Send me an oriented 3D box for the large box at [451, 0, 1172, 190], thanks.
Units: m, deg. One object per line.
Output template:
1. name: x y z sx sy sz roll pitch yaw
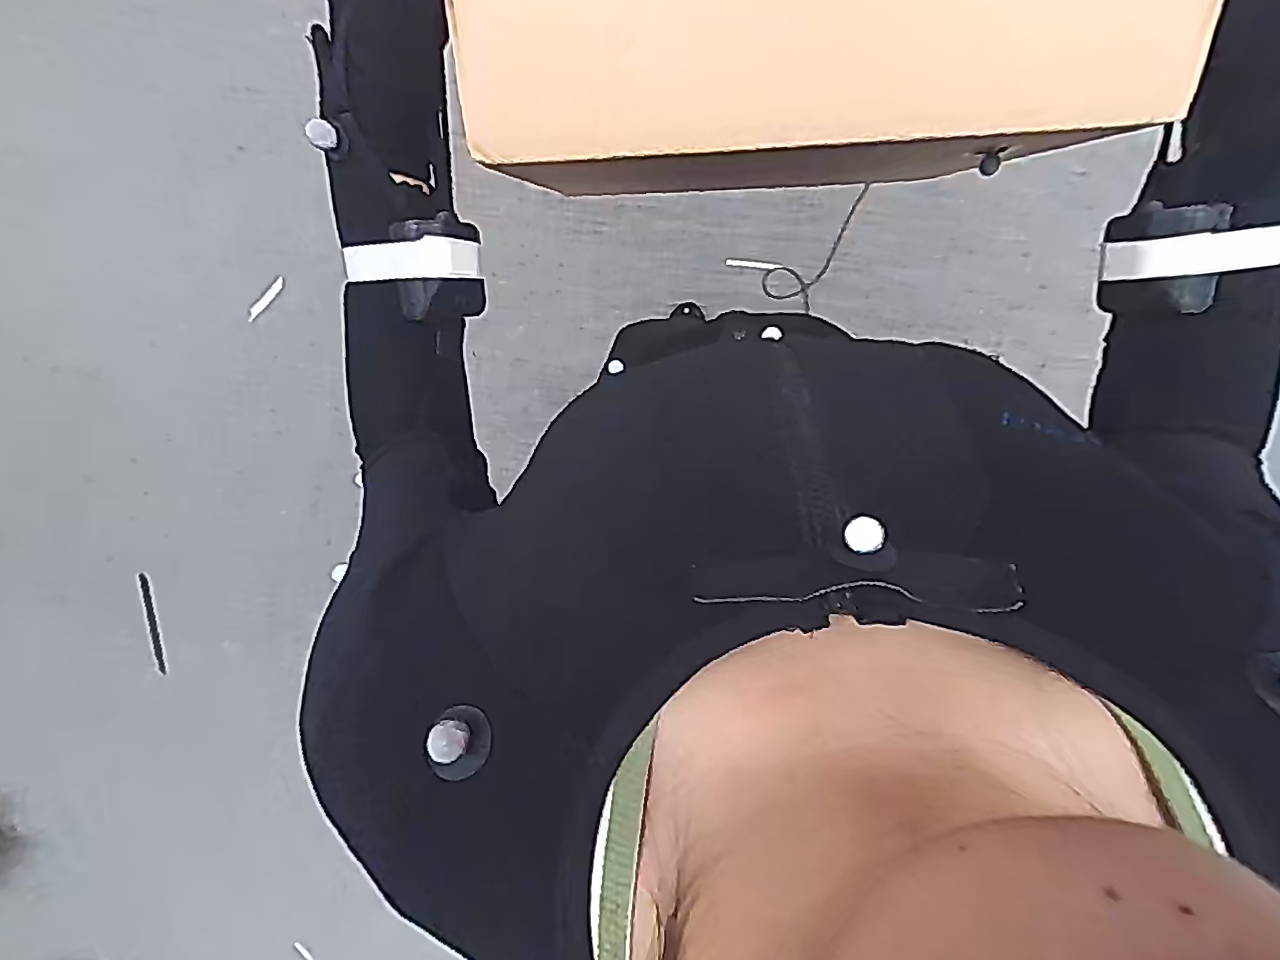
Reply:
1. large box: 0.094 -0.407 0.398 0.408 0.320 0.320 -1 114 4
